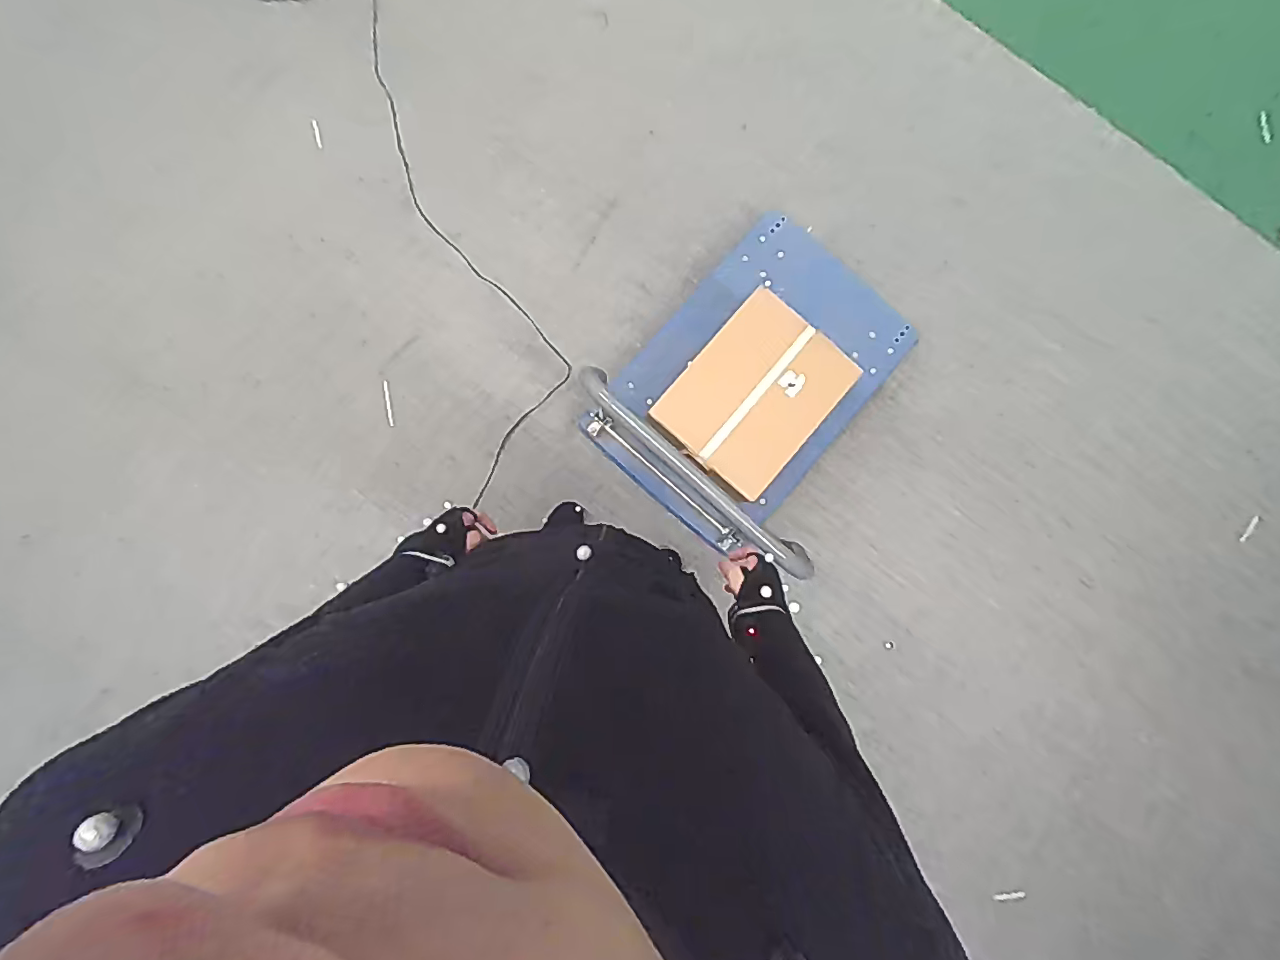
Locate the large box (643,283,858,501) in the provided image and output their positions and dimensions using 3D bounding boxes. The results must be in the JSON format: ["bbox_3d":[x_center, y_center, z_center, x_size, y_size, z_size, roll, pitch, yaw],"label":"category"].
[{"bbox_3d":[0.253,-0.196,1.371,0.320,0.320,0.408,41,84,-1],"label":"large box"}]
